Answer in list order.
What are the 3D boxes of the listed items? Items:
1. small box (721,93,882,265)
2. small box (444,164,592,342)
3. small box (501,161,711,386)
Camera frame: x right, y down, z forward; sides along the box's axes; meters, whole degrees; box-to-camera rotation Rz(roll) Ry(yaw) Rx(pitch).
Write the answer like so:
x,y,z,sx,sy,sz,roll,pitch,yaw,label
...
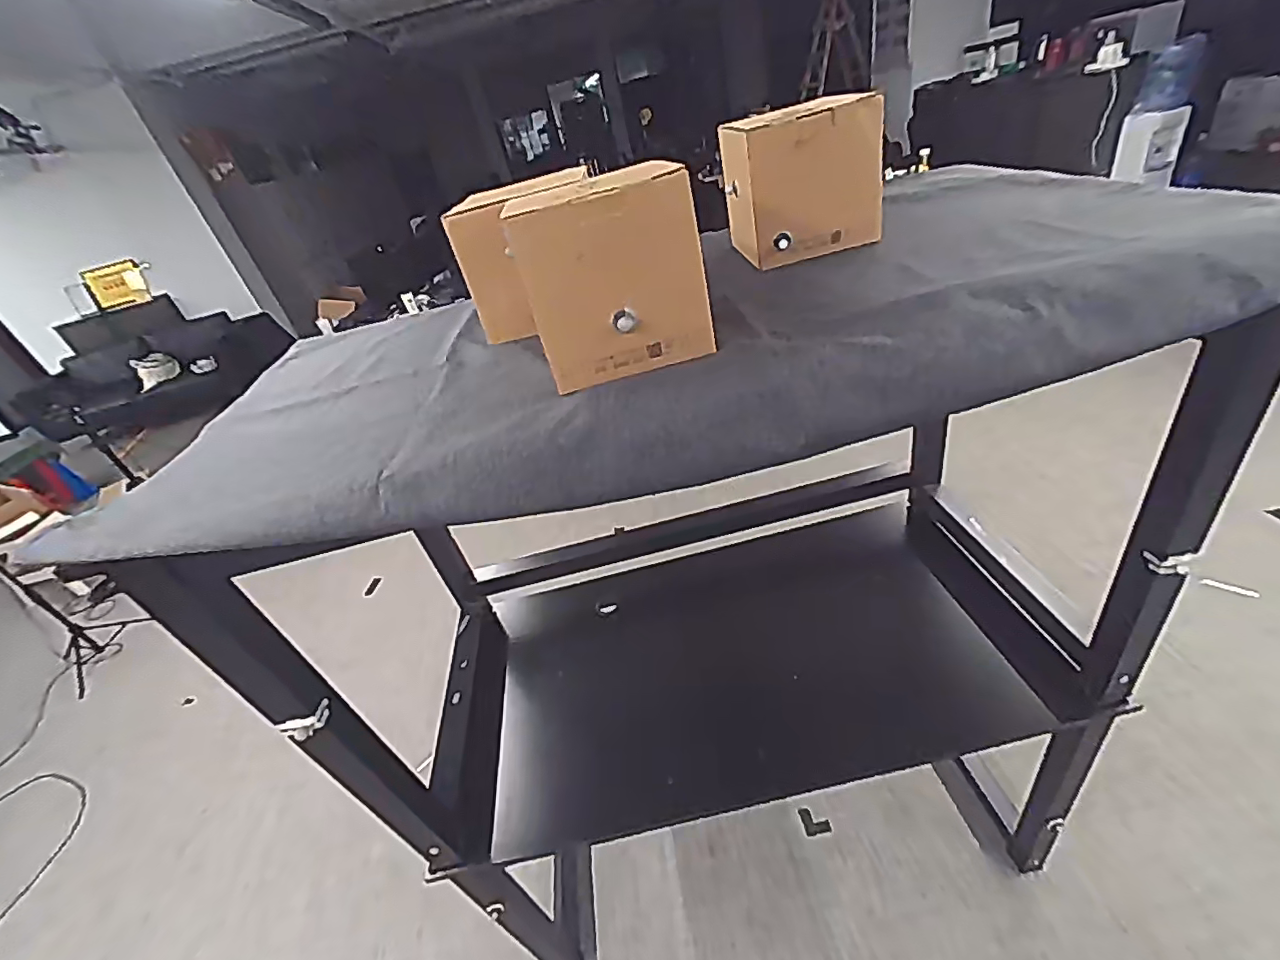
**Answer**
x,y,z,sx,sy,sz,roll,pitch,yaw,label
0.218,-0.411,0.747,0.168,0.176,0.179,-12,34,4,small box
-0.134,-0.310,0.742,0.179,0.176,0.168,-12,35,6,small box
-0.032,-0.218,0.566,0.168,0.176,0.179,-15,34,0,small box
